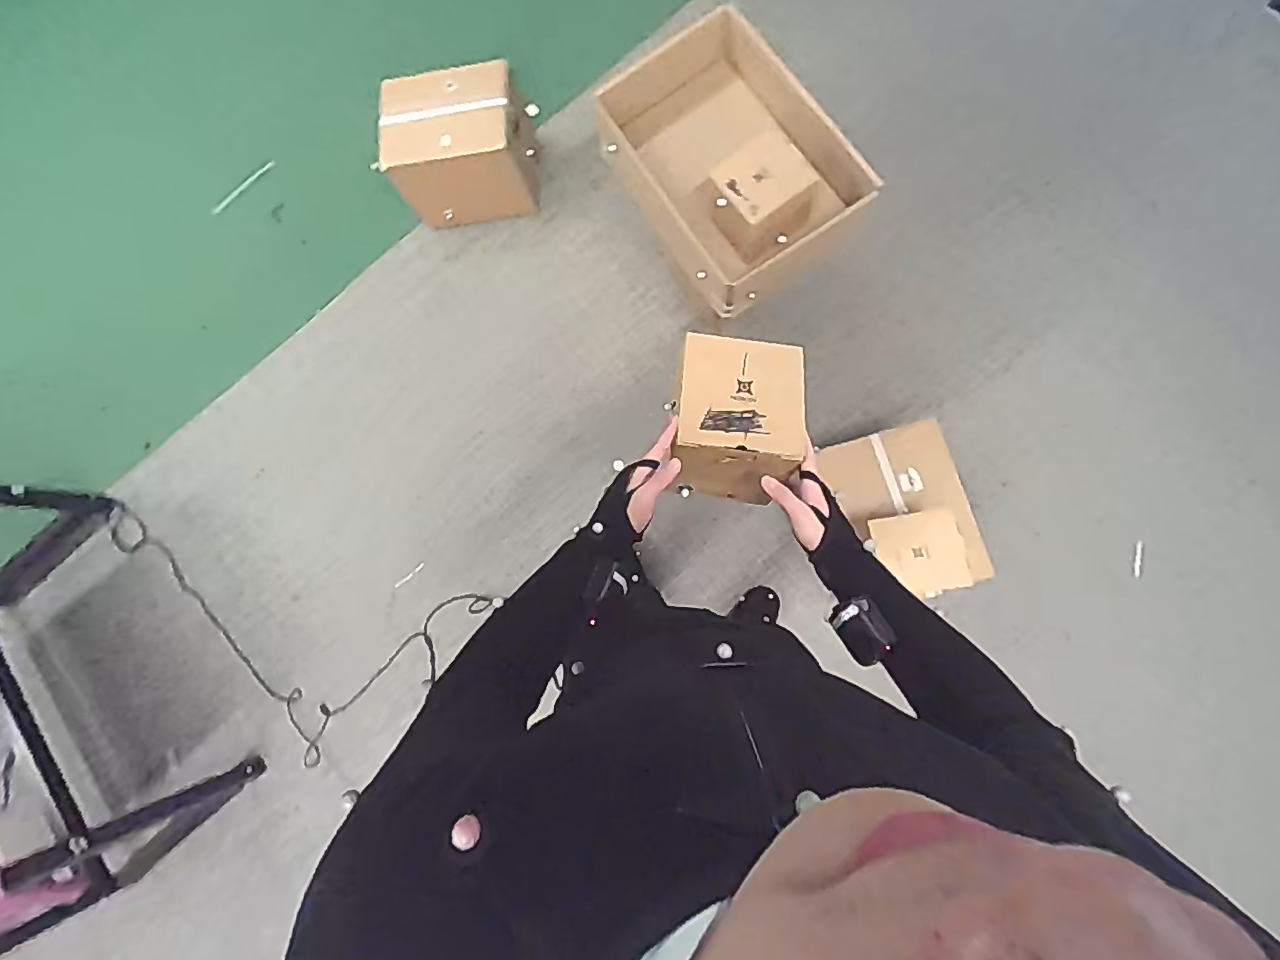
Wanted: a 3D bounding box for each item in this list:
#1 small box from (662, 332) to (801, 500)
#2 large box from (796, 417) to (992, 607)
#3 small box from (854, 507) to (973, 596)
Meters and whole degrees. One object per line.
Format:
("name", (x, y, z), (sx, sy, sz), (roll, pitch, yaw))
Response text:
("small box", (0.125, -0.084, 0.782), (0.168, 0.176, 0.179), (7, 66, -1))
("large box", (0.644, 0.097, 1.448), (0.320, 0.320, 0.408), (-16, 79, 5))
("small box", (0.594, 0.158, 1.196), (0.179, 0.176, 0.168), (-10, 80, 9))
